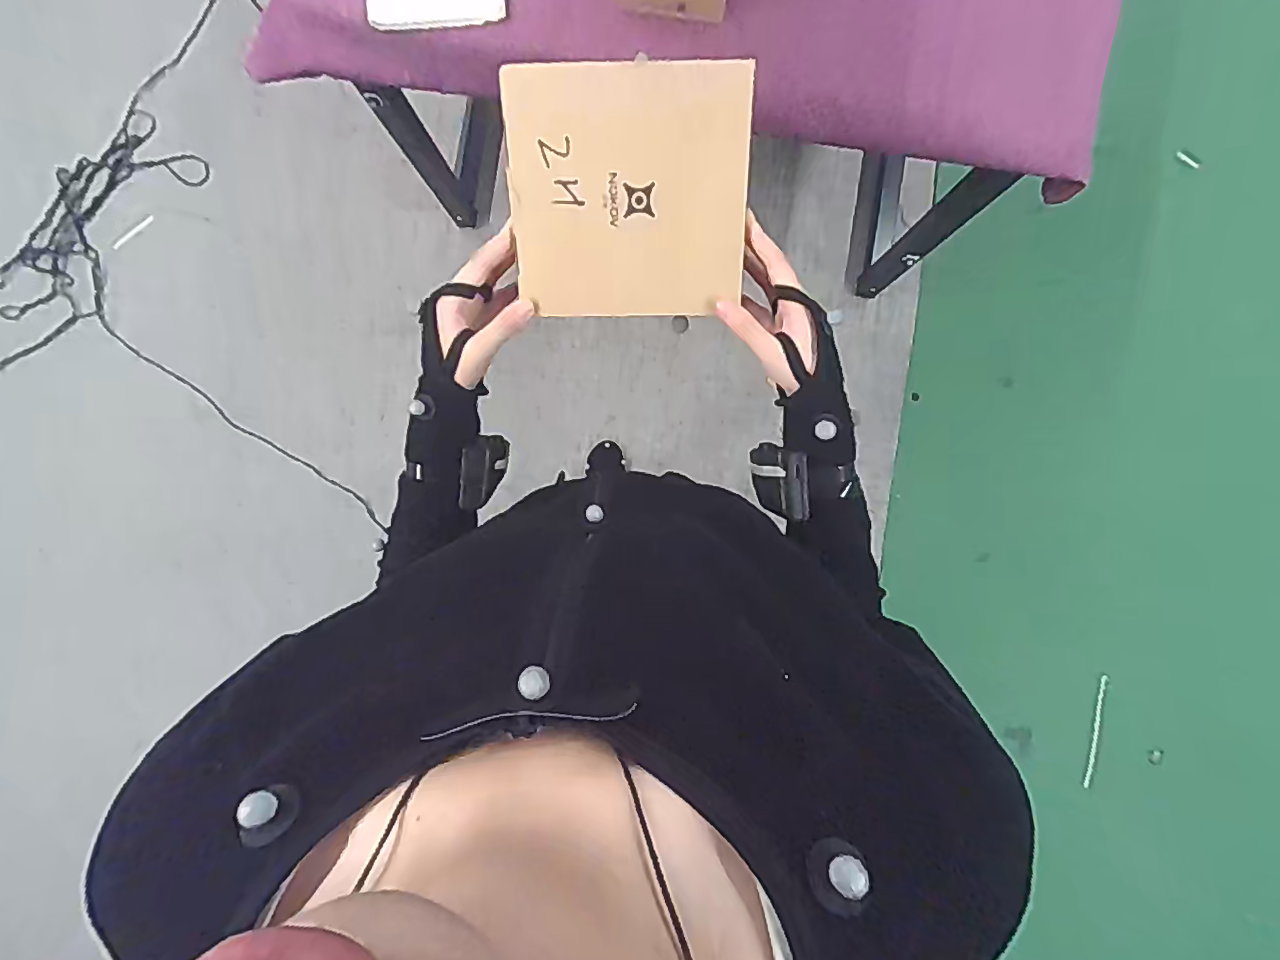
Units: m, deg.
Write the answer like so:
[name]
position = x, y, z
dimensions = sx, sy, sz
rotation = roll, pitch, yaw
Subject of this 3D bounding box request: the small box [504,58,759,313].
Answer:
[small box]
position = -0.006, -0.239, 0.468
dimensions = 0.179, 0.176, 0.168
rotation = 1, 112, 1
